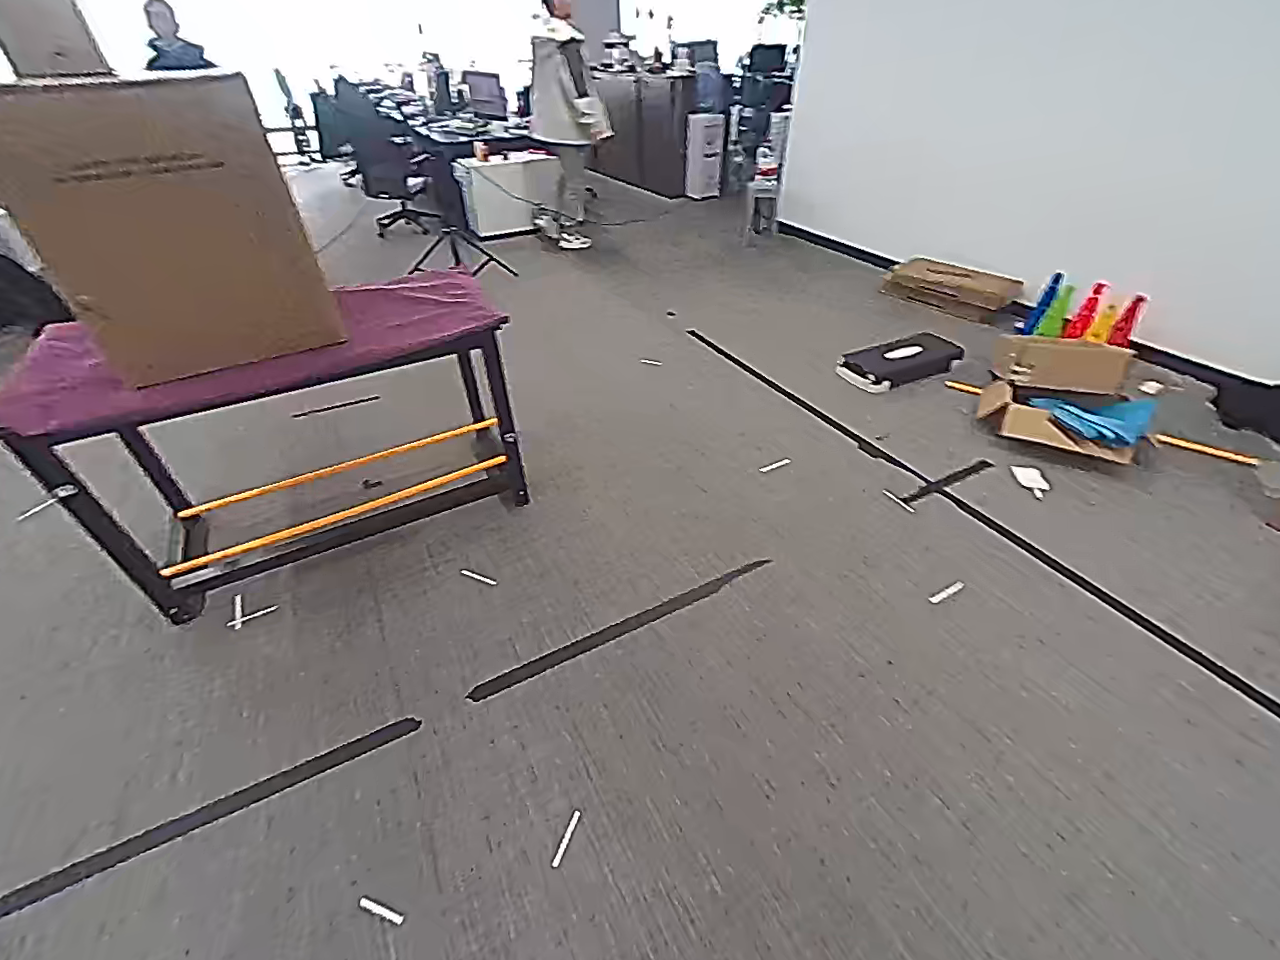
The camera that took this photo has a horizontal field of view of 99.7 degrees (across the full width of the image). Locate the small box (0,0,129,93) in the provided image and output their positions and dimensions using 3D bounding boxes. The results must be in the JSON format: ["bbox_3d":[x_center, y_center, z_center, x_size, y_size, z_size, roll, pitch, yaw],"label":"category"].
[{"bbox_3d":[-1.286,-0.967,1.192,0.179,0.176,0.168,-22,43,-25],"label":"small box"}]
